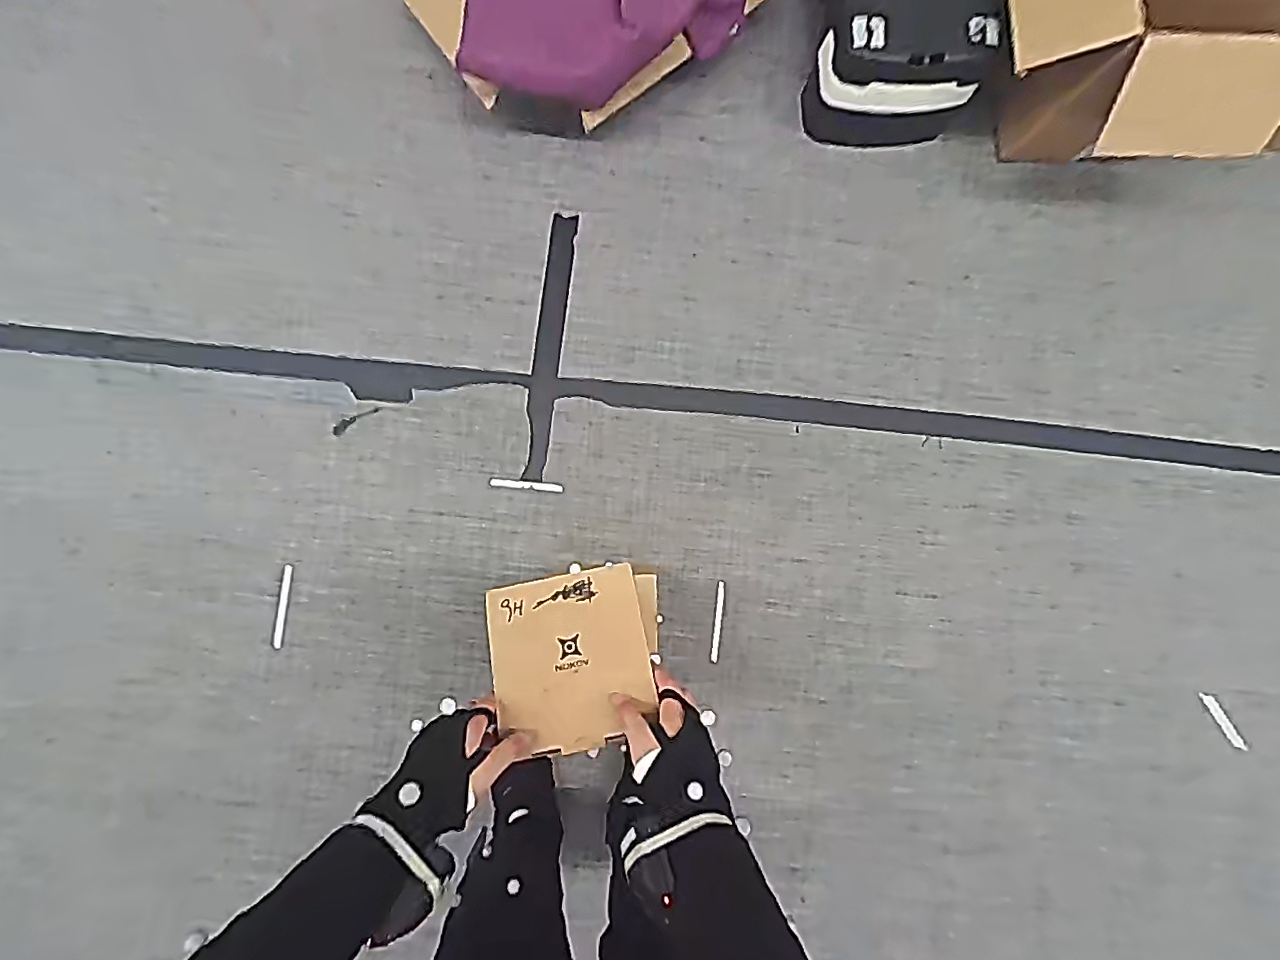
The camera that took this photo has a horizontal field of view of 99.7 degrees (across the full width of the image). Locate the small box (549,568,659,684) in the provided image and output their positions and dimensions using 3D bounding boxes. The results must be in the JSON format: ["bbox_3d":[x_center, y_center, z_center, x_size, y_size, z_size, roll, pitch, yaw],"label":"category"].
[{"bbox_3d":[-0.062,0.244,0.937,0.179,0.176,0.168,0,86,-3],"label":"small box"}]
